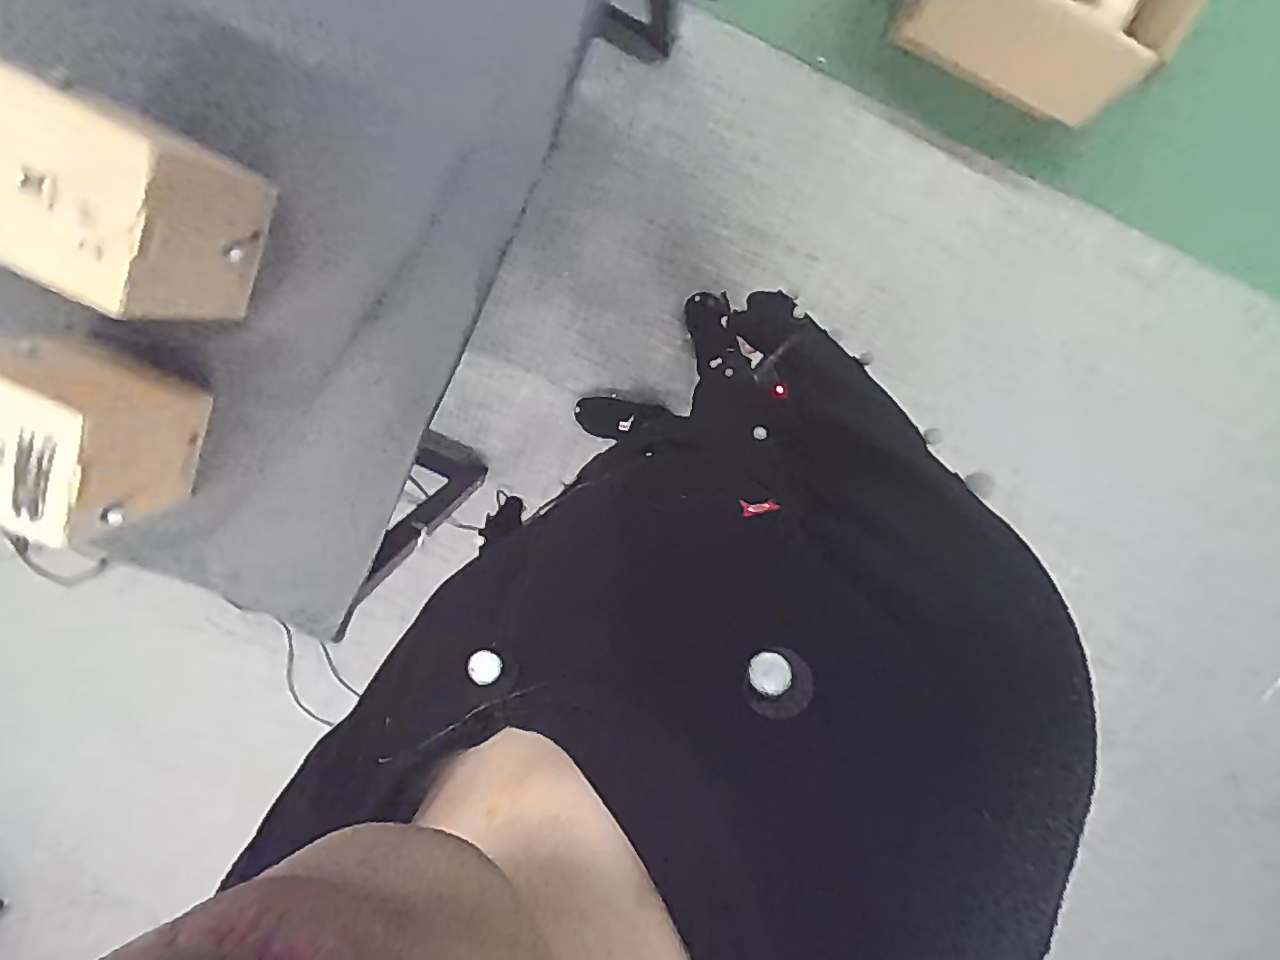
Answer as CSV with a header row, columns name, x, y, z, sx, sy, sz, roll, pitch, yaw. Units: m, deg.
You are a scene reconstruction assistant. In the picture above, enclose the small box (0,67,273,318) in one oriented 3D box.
name,x,y,z,sx,sy,sz,roll,pitch,yaw
small box,-0.542,-0.282,0.569,0.179,0.176,0.168,26,106,-7
